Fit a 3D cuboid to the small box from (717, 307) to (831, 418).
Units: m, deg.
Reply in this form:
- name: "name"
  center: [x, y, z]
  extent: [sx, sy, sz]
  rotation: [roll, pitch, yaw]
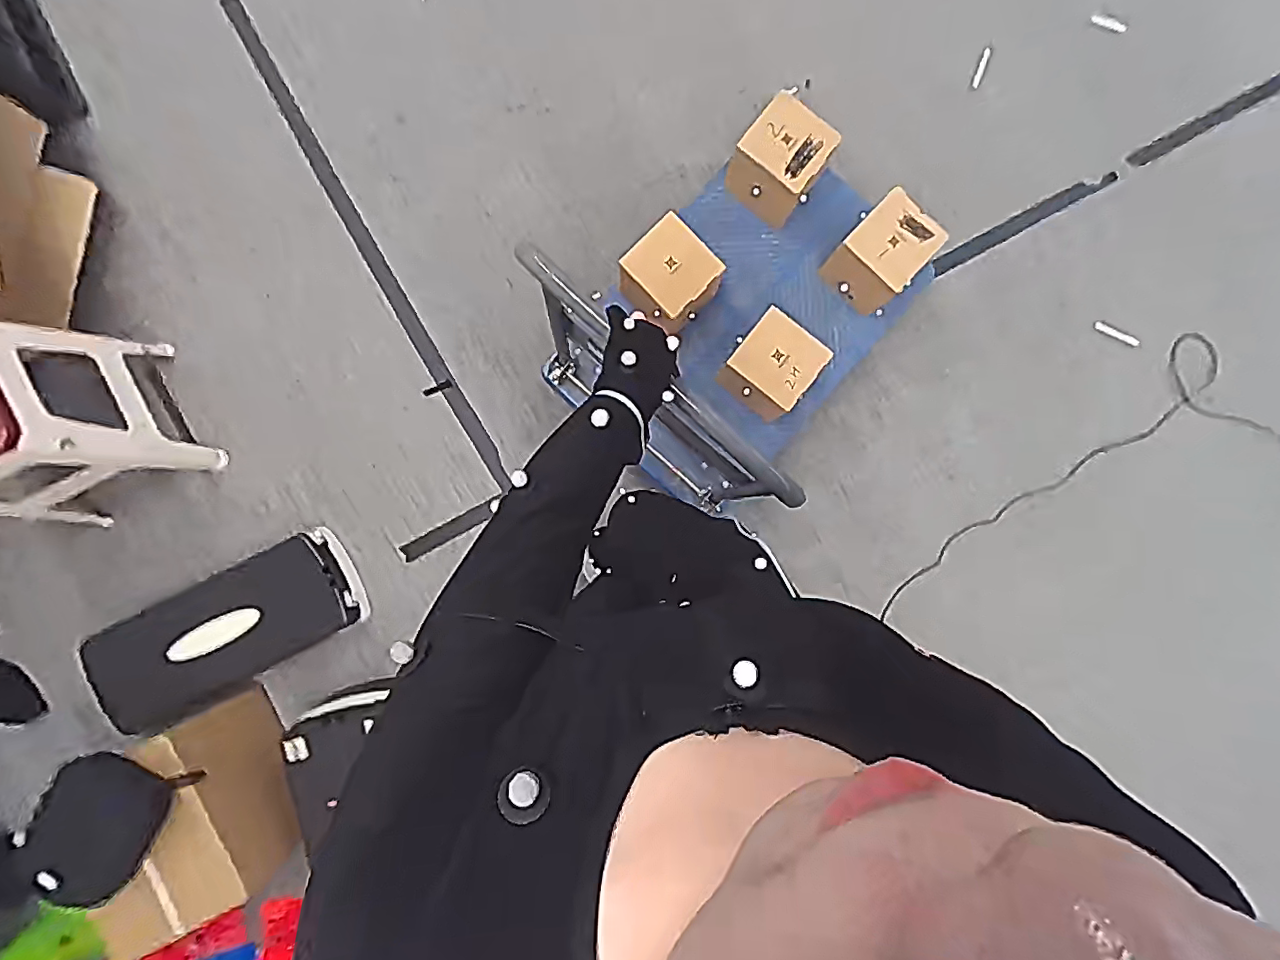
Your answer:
- name: "small box"
  center: [0.298, -0.261, 1.252]
  extent: [0.179, 0.176, 0.168]
  rotation: [39, 88, 0]

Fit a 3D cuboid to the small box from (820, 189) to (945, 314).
- name: "small box"
  center: [0.555, -0.524, 1.264]
  extent: [0.168, 0.176, 0.179]
  rotation: [44, 89, 0]

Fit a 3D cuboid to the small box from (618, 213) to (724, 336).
- name: "small box"
  center: [0.064, -0.463, 1.251]
  extent: [0.179, 0.176, 0.168]
  rotation: [45, 88, -2]
